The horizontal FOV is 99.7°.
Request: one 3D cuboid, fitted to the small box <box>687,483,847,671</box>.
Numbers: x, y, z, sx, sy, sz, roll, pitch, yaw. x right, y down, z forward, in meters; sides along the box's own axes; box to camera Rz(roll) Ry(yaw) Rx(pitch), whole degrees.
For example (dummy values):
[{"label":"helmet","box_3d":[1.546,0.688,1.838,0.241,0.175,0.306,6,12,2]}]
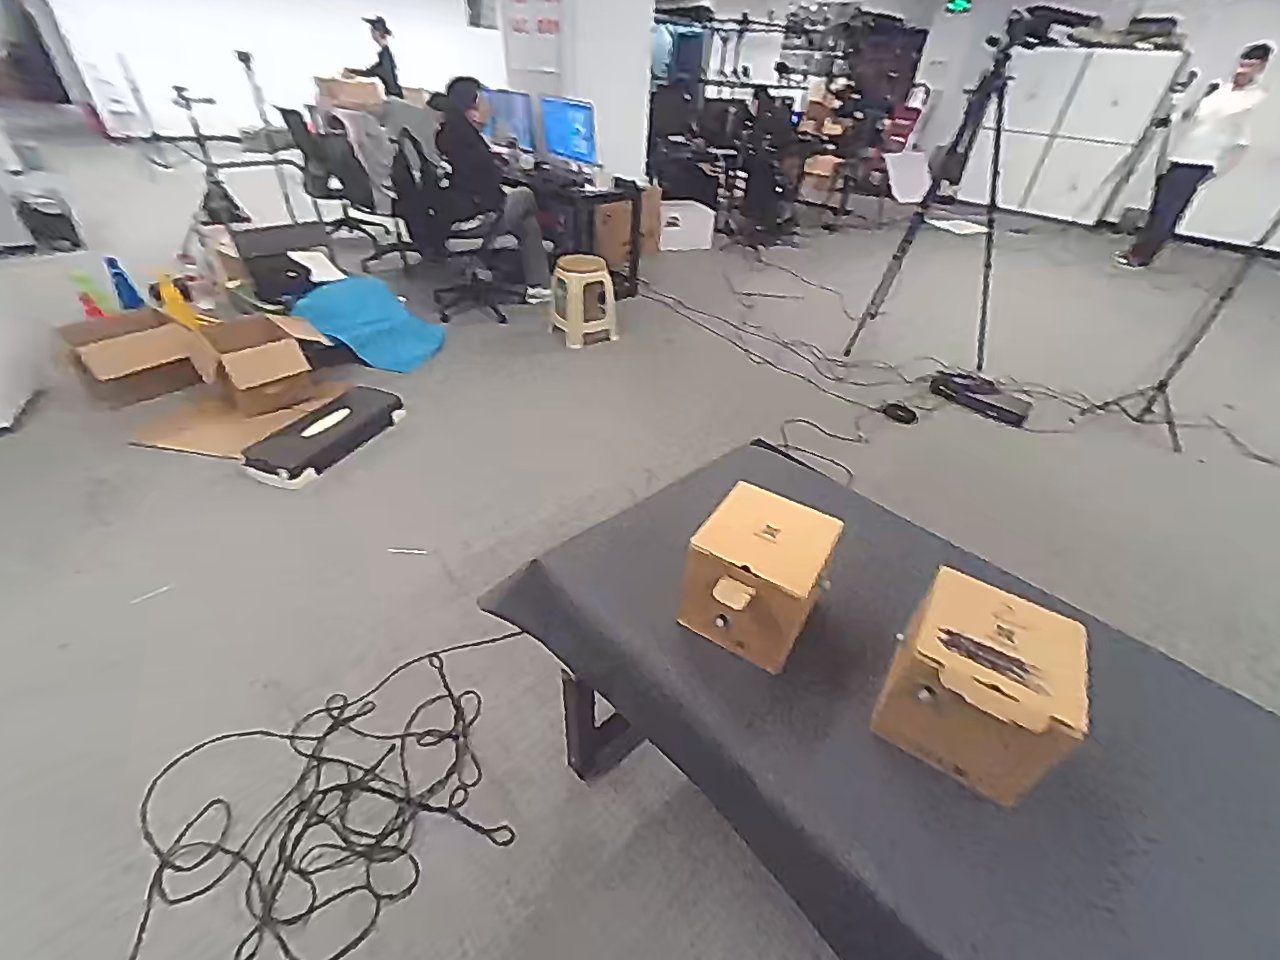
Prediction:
[{"label":"small box","box_3d":[0.181,0.140,0.800,0.168,0.176,0.179,24,42,23]}]
